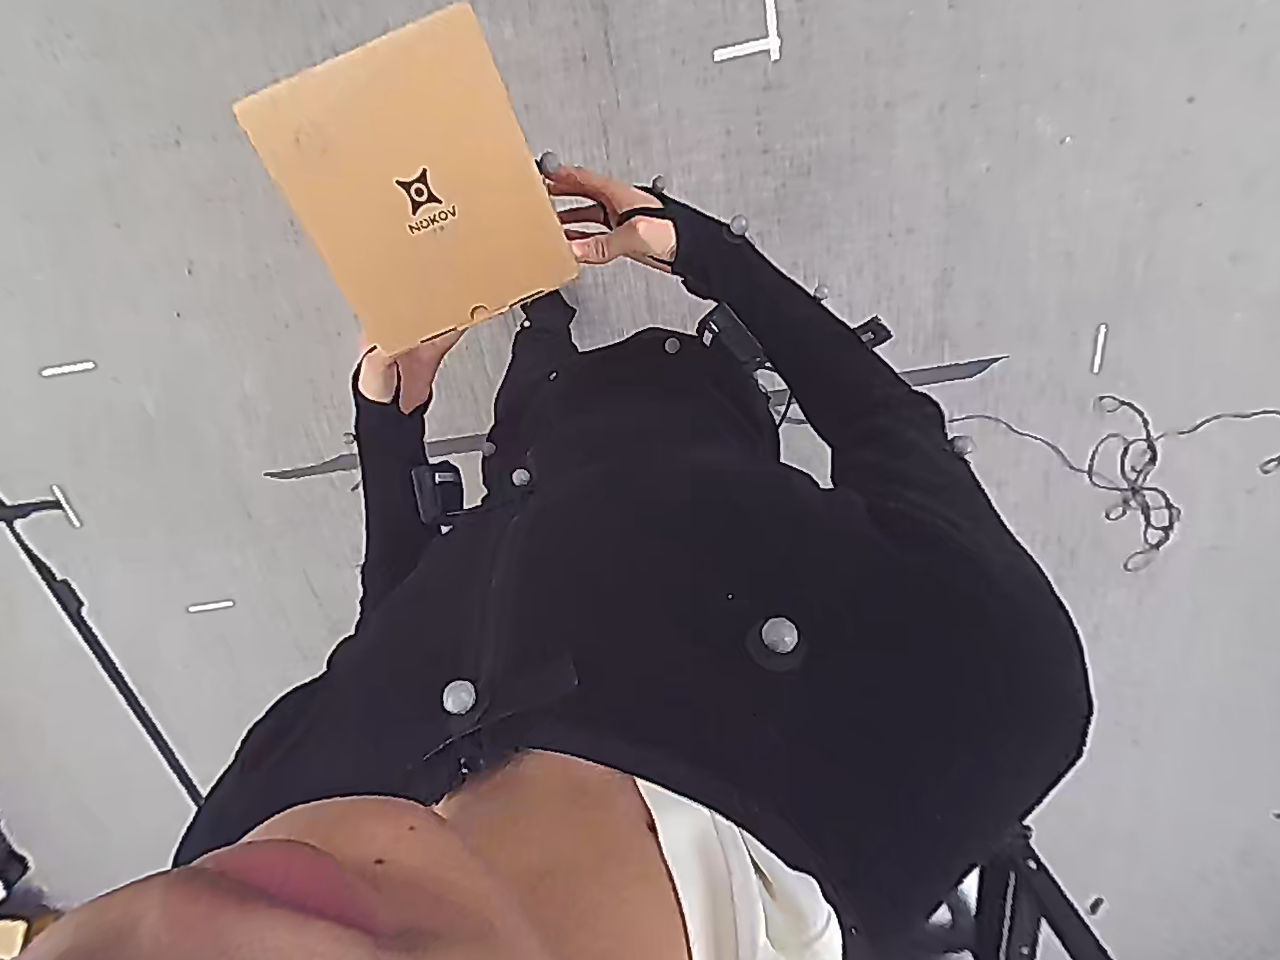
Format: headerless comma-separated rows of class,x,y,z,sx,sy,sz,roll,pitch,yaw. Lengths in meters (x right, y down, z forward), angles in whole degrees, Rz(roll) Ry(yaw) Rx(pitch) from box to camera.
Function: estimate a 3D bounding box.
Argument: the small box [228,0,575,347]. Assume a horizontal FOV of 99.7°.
small box,-0.164,-0.234,0.439,0.168,0.176,0.179,-22,118,2
